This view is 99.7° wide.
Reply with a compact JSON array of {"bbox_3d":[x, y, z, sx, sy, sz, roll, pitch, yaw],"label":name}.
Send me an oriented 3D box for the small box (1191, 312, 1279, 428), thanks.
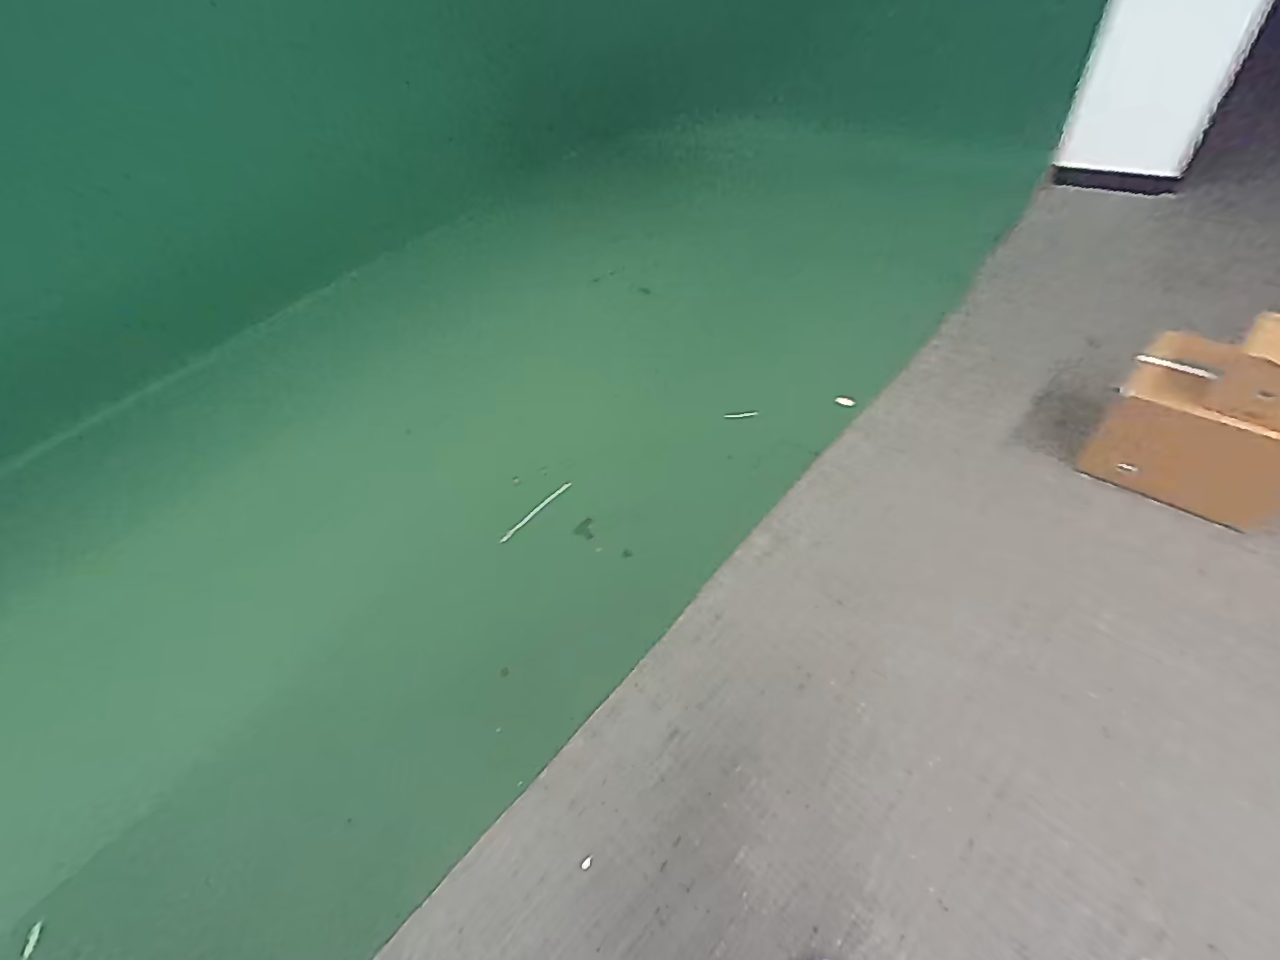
[{"bbox_3d":[1.441,-0.251,1.249,0.179,0.176,0.168,-42,54,-19],"label":"small box"}]
